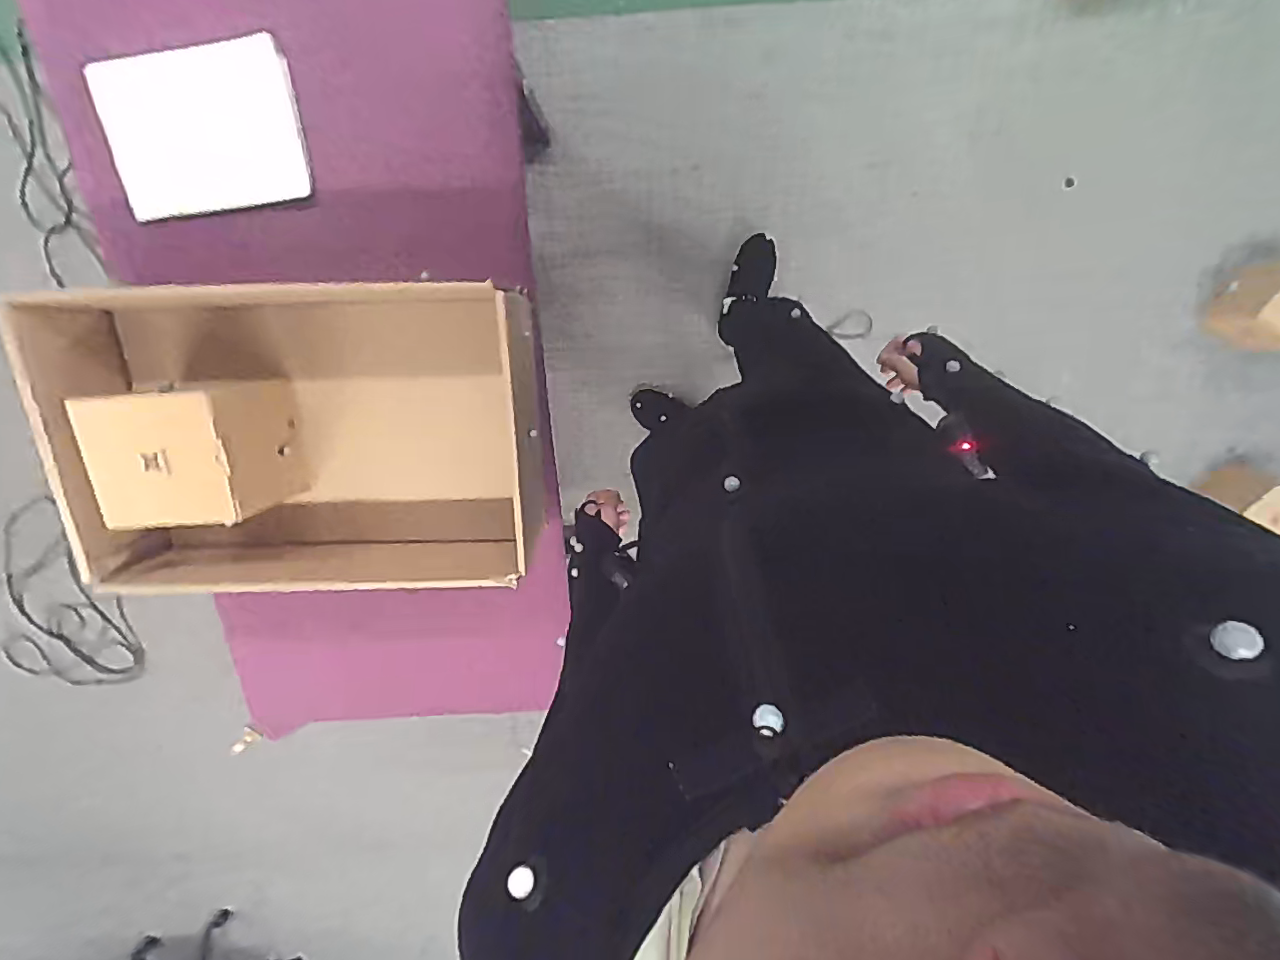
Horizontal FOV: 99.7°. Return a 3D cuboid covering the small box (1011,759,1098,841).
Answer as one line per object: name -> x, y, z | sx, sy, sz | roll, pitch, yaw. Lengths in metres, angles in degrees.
small box -> 1.380, 1.062, 1.809 | 0.168, 0.176, 0.179 | -6, 105, 4

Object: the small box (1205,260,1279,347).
small box -> 1.649, -0.454, 1.391 | 0.179, 0.176, 0.168 | 28, 104, -6

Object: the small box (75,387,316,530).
small box -> -0.595, -0.037, 0.750 | 0.179, 0.176, 0.168 | -4, 104, 1
